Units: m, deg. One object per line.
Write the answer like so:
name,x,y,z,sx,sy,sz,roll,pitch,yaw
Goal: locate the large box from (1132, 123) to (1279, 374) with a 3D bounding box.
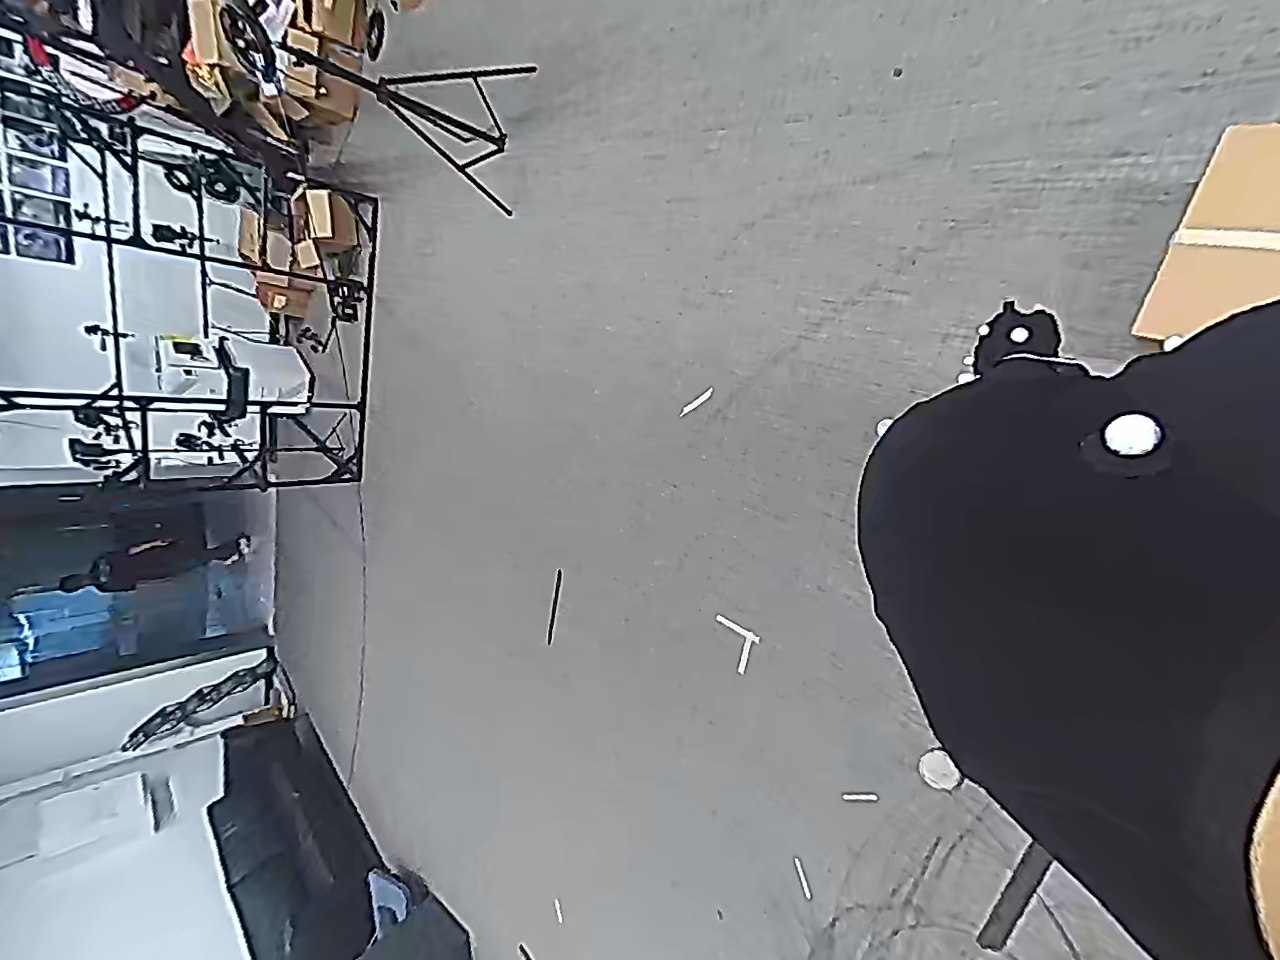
large box,1.085,-0.332,0.843,0.408,0.320,0.320,27,112,38
